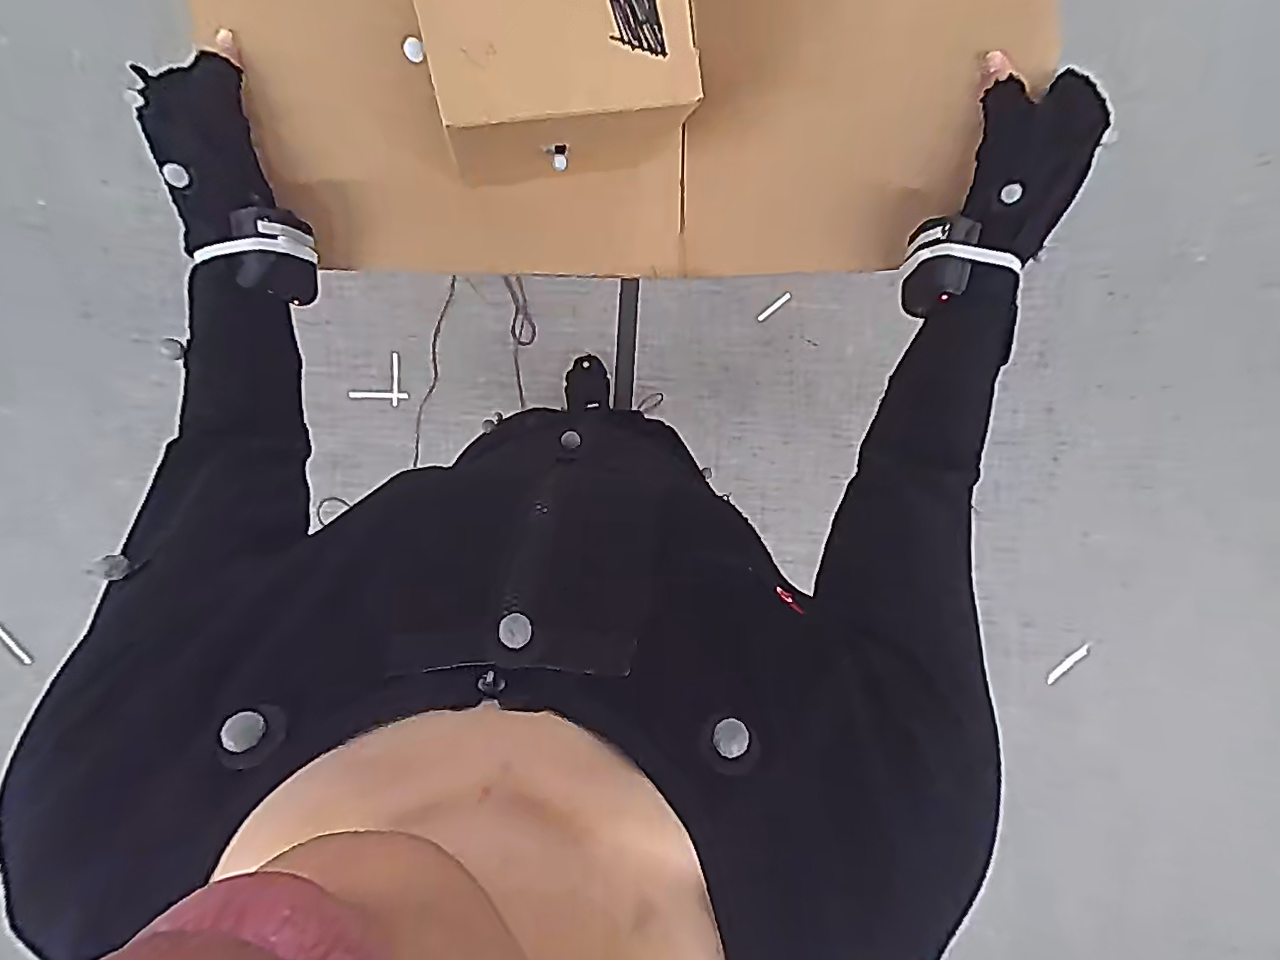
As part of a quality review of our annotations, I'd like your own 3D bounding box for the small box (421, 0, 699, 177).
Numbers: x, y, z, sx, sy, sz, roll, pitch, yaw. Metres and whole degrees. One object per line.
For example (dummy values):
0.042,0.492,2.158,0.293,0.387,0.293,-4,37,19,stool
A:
-0.071,-0.349,0.413,0.179,0.176,0.168,-12,108,-10,small box
